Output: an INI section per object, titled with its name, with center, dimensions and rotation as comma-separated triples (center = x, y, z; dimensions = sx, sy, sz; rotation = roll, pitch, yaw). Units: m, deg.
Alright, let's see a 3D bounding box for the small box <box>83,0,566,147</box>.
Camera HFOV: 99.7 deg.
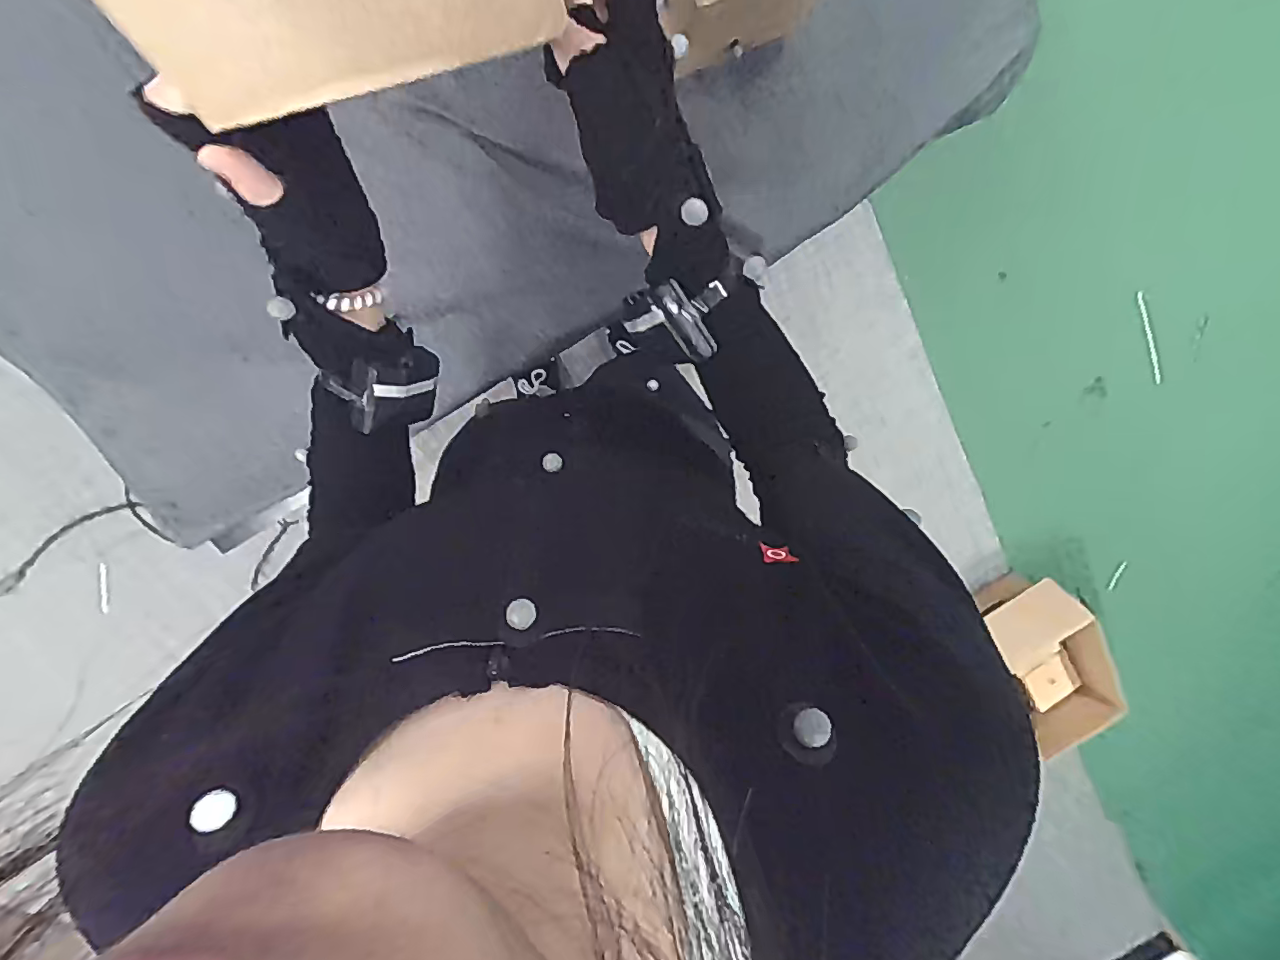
[small box]
center = -0.139, -0.277, 0.208
dimensions = 0.179, 0.168, 0.176
rotation = -10, 67, 6
